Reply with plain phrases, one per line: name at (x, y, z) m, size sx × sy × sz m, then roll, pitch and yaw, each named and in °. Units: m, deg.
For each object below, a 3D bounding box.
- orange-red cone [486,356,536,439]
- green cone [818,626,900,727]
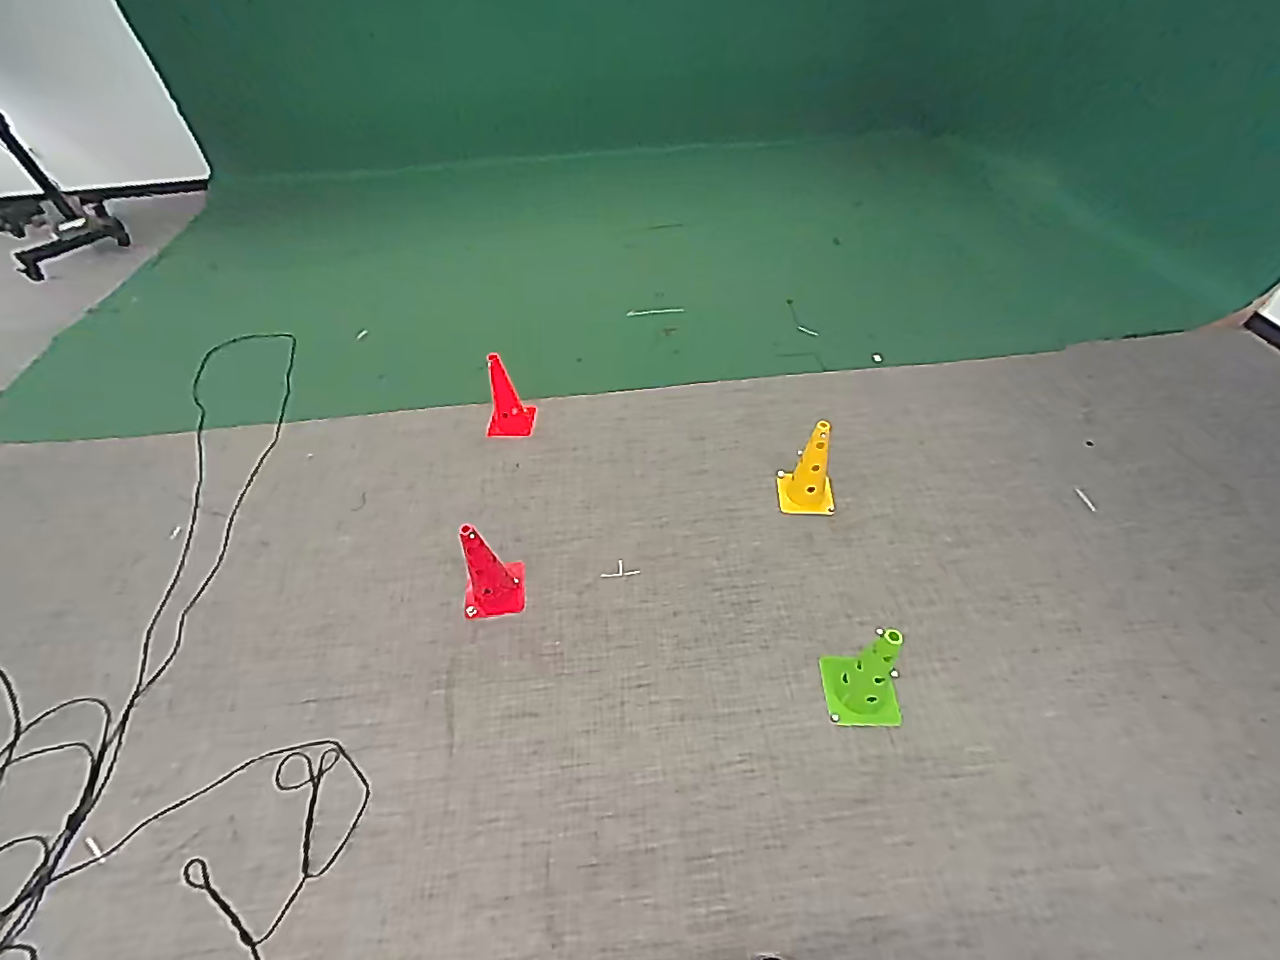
orange-red cone at (-0.590, -0.369, 2.306) m, size 0.199 × 0.360 × 0.198 m, roll -1°, pitch 47°, yaw 5°
green cone at (0.631, 0.502, 1.458) m, size 0.200 × 0.368 × 0.202 m, roll -1°, pitch 47°, yaw 2°
